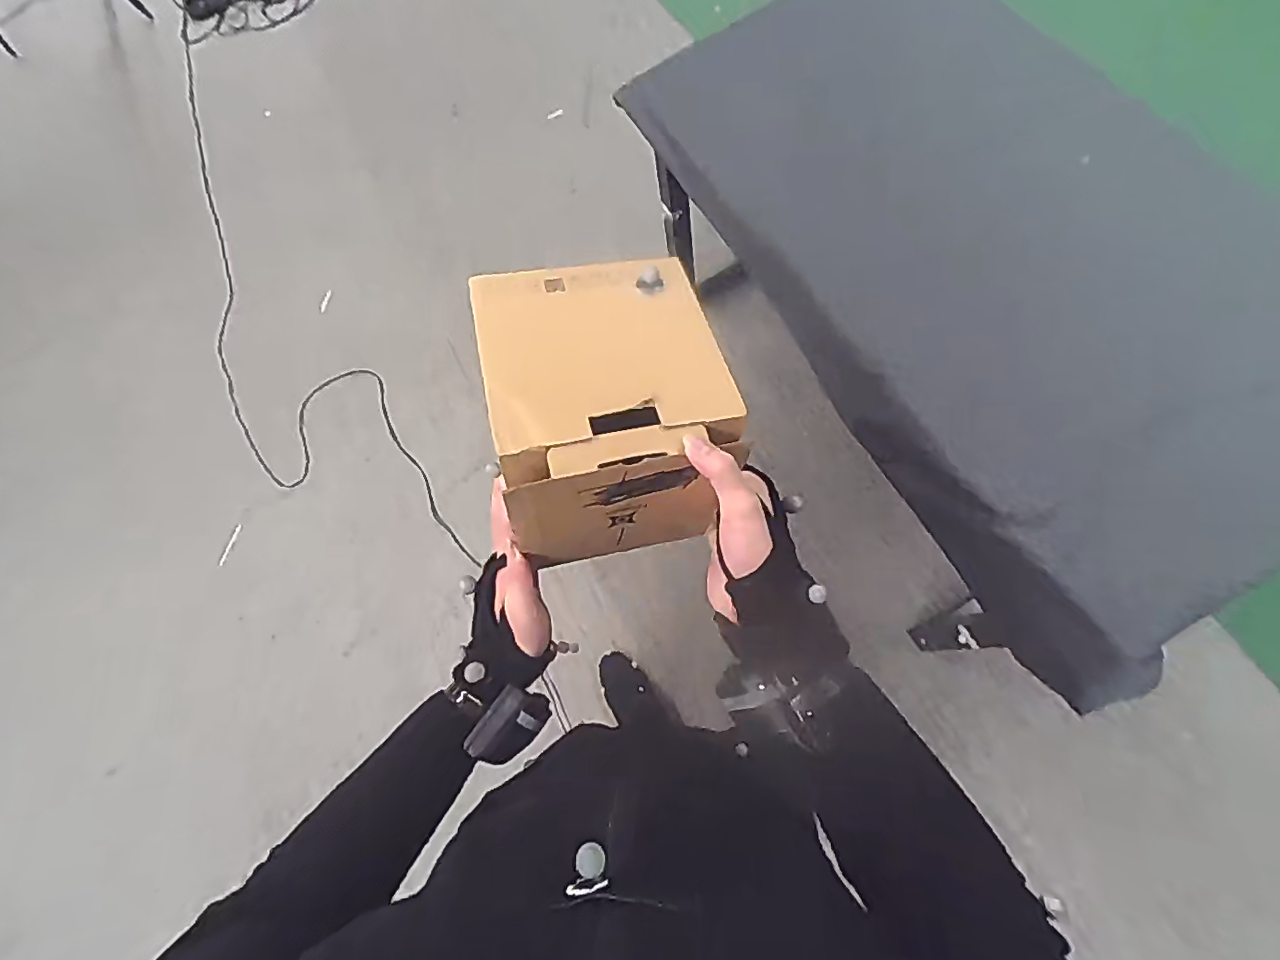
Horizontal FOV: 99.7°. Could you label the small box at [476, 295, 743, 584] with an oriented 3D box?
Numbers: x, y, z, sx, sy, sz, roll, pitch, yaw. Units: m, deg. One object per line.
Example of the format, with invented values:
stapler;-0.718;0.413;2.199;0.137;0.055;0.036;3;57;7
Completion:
small box;-0.036;-0.037;0.455;0.168;0.179;0.176;-10;60;-12
